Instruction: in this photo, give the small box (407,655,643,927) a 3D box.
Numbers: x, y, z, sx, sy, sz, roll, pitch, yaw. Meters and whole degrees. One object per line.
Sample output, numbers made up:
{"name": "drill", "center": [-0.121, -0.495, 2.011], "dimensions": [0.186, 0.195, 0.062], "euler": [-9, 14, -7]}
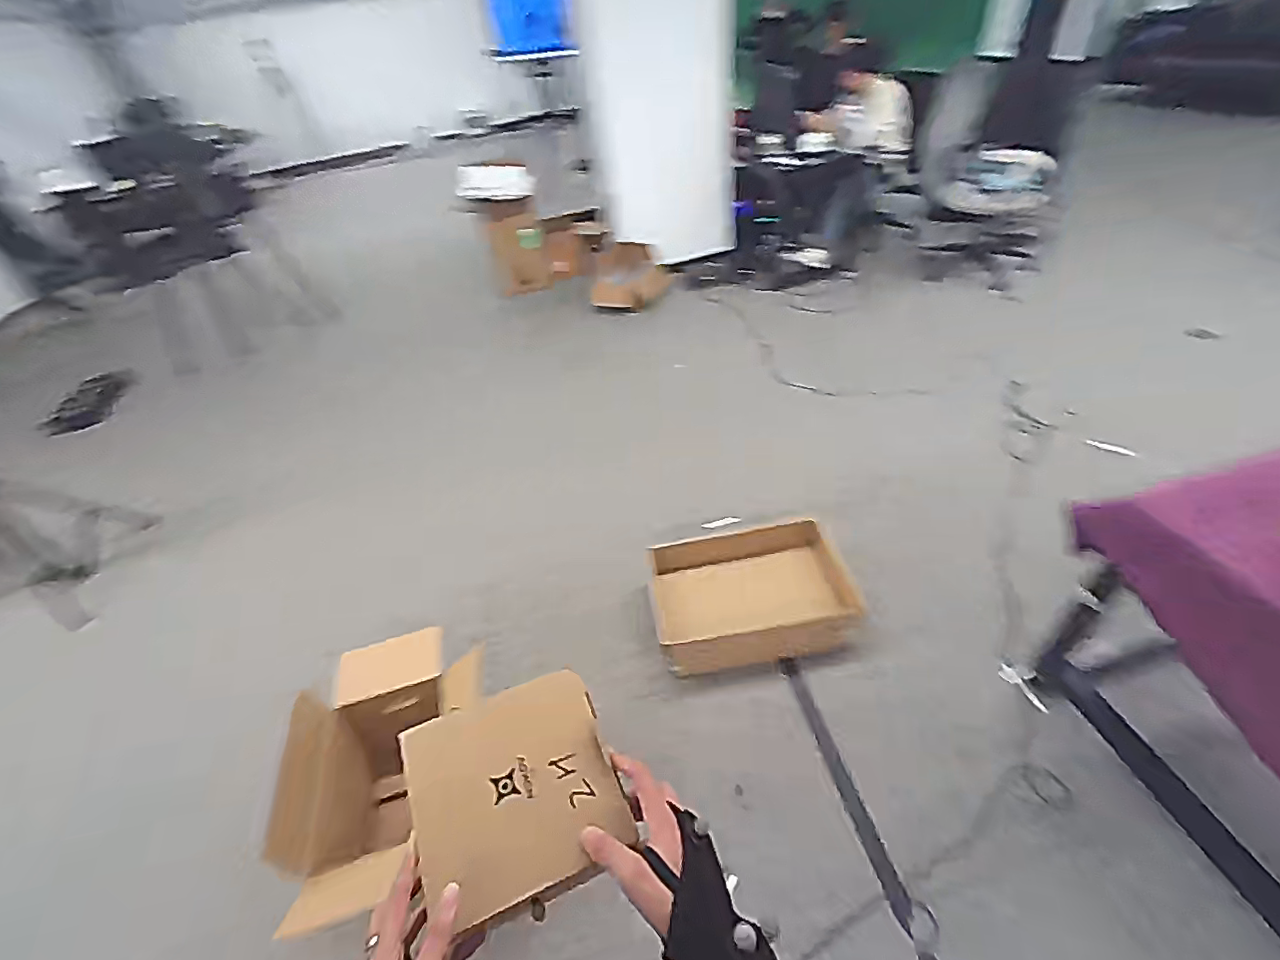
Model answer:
{"name": "small box", "center": [-0.108, 0.307, 0.536], "dimensions": [0.179, 0.176, 0.168], "euler": [-16, 55, -16]}
